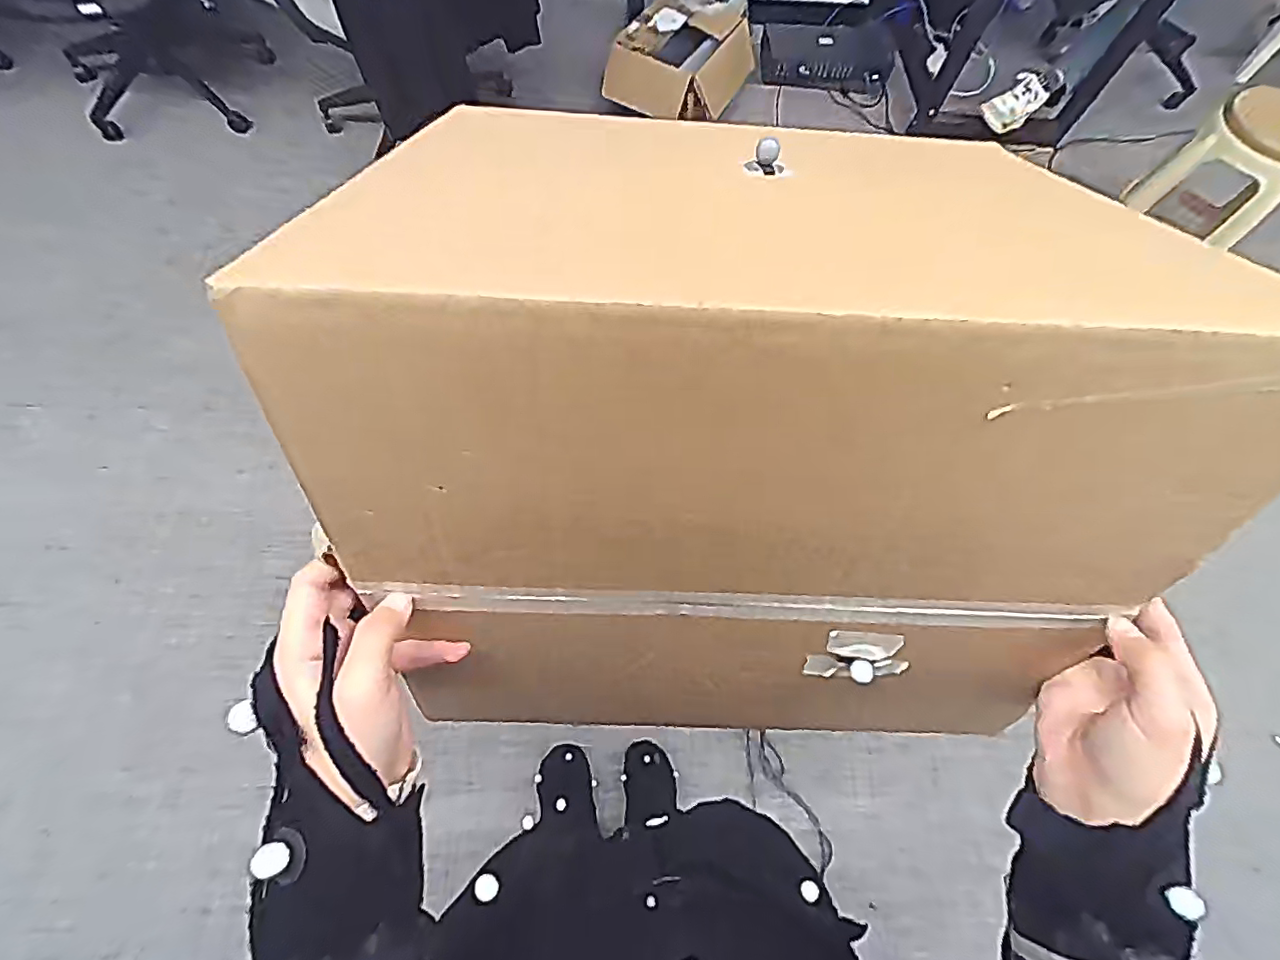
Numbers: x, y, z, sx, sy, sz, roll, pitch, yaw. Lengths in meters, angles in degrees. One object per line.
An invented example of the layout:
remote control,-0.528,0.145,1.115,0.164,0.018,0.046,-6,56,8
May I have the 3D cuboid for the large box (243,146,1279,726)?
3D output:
large box,0.052,-0.037,0.398,0.408,0.320,0.320,1,44,-2
